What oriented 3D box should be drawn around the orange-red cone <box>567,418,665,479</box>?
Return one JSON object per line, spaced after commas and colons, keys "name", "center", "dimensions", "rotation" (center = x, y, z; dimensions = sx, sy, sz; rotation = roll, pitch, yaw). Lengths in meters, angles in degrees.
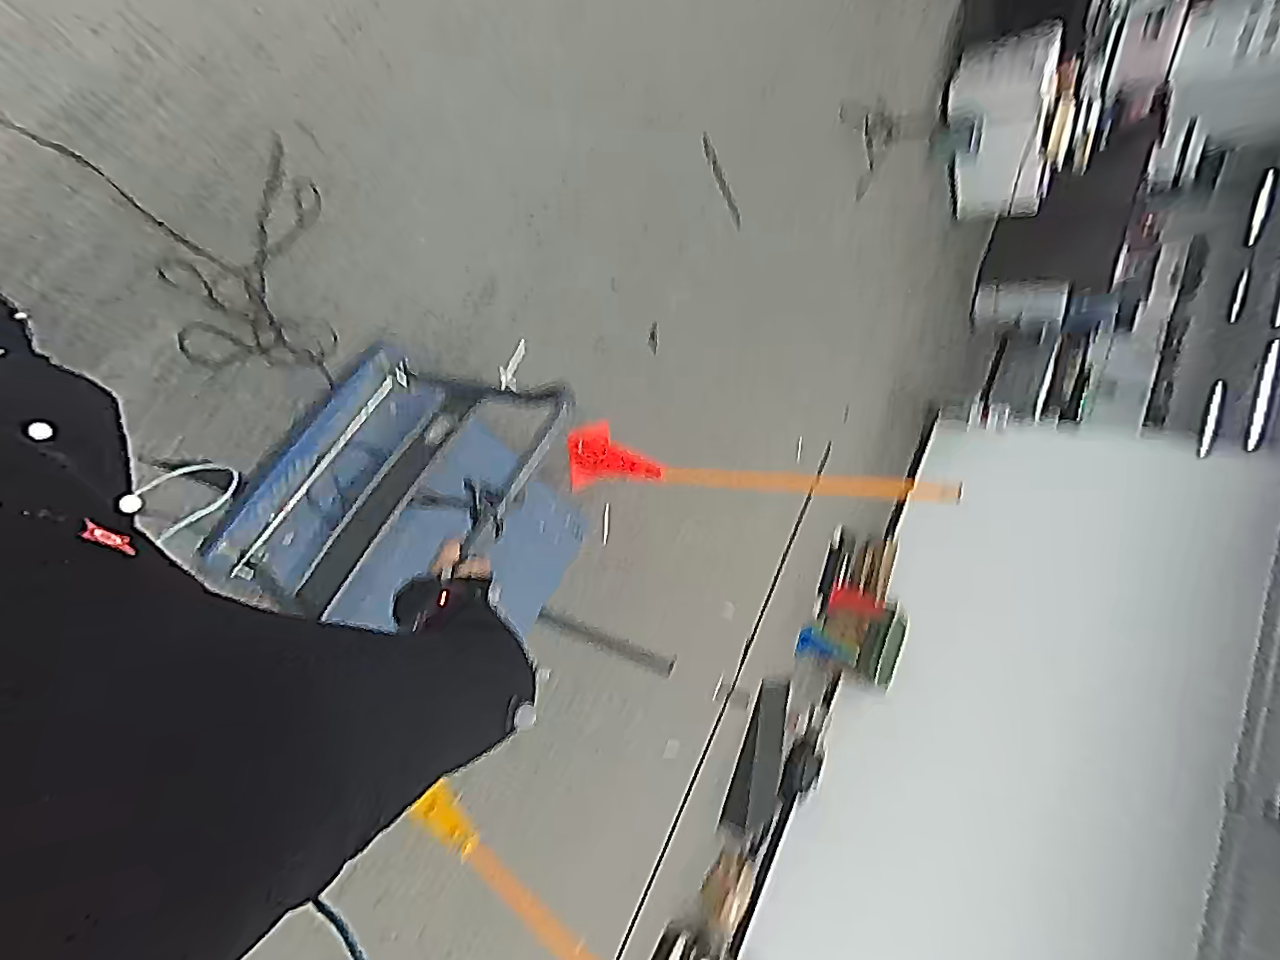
{"name": "orange-red cone", "center": [-0.059, -0.075, 1.857], "dimensions": [0.198, 0.360, 0.199], "rotation": [-24, 122, -42]}
